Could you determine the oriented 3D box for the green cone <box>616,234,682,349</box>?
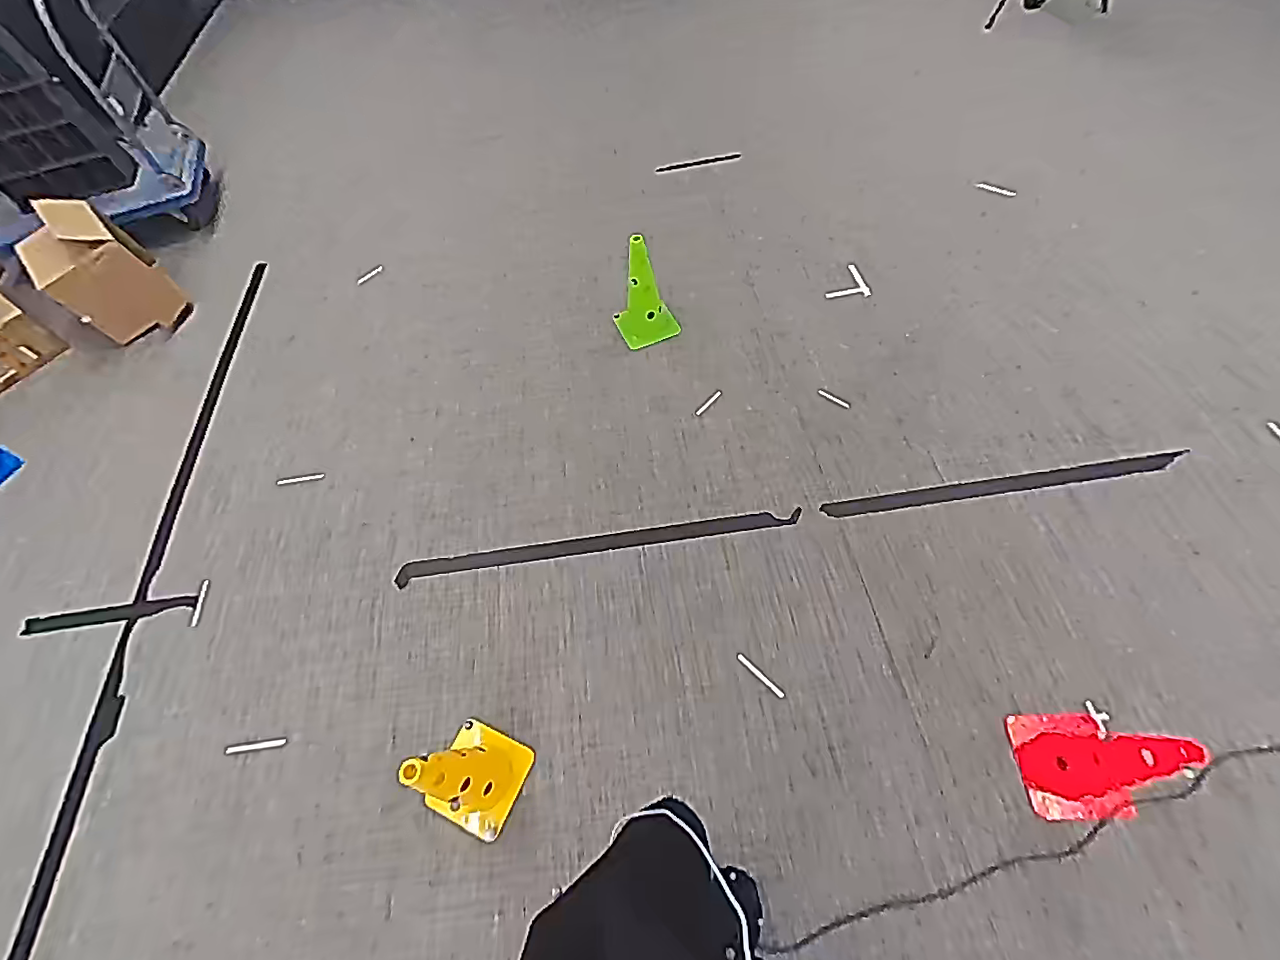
[{"bbox_3d":[0.017,-0.657,1.831,0.202,0.368,0.200,-22,60,-8],"label":"green cone"}]

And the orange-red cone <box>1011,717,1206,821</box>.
[{"bbox_3d":[0.904,0.524,1.012,0.199,0.360,0.198,-3,58,6],"label":"orange-red cone"}]
